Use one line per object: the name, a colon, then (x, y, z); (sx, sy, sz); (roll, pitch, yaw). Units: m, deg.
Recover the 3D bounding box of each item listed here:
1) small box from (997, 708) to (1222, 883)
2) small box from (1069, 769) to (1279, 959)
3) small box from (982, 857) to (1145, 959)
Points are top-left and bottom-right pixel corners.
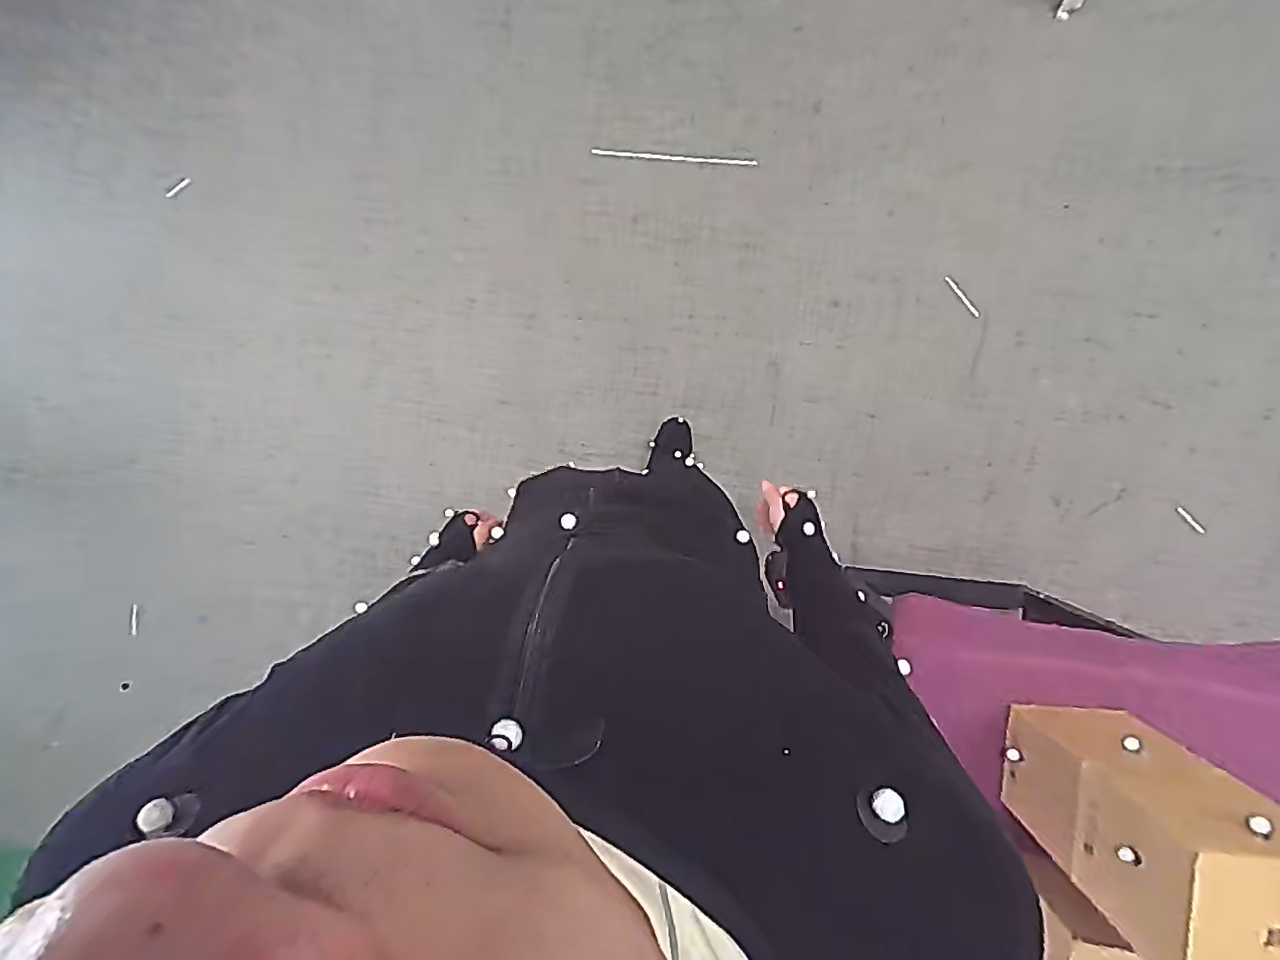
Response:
small box: (0.660, 0.450, 0.781); (0.179, 0.176, 0.168); (3, 93, 5)
small box: (0.641, 0.458, 0.621); (0.179, 0.176, 0.168); (3, 93, 4)
small box: (0.650, 0.699, 0.795); (0.179, 0.176, 0.168); (8, 94, 5)
